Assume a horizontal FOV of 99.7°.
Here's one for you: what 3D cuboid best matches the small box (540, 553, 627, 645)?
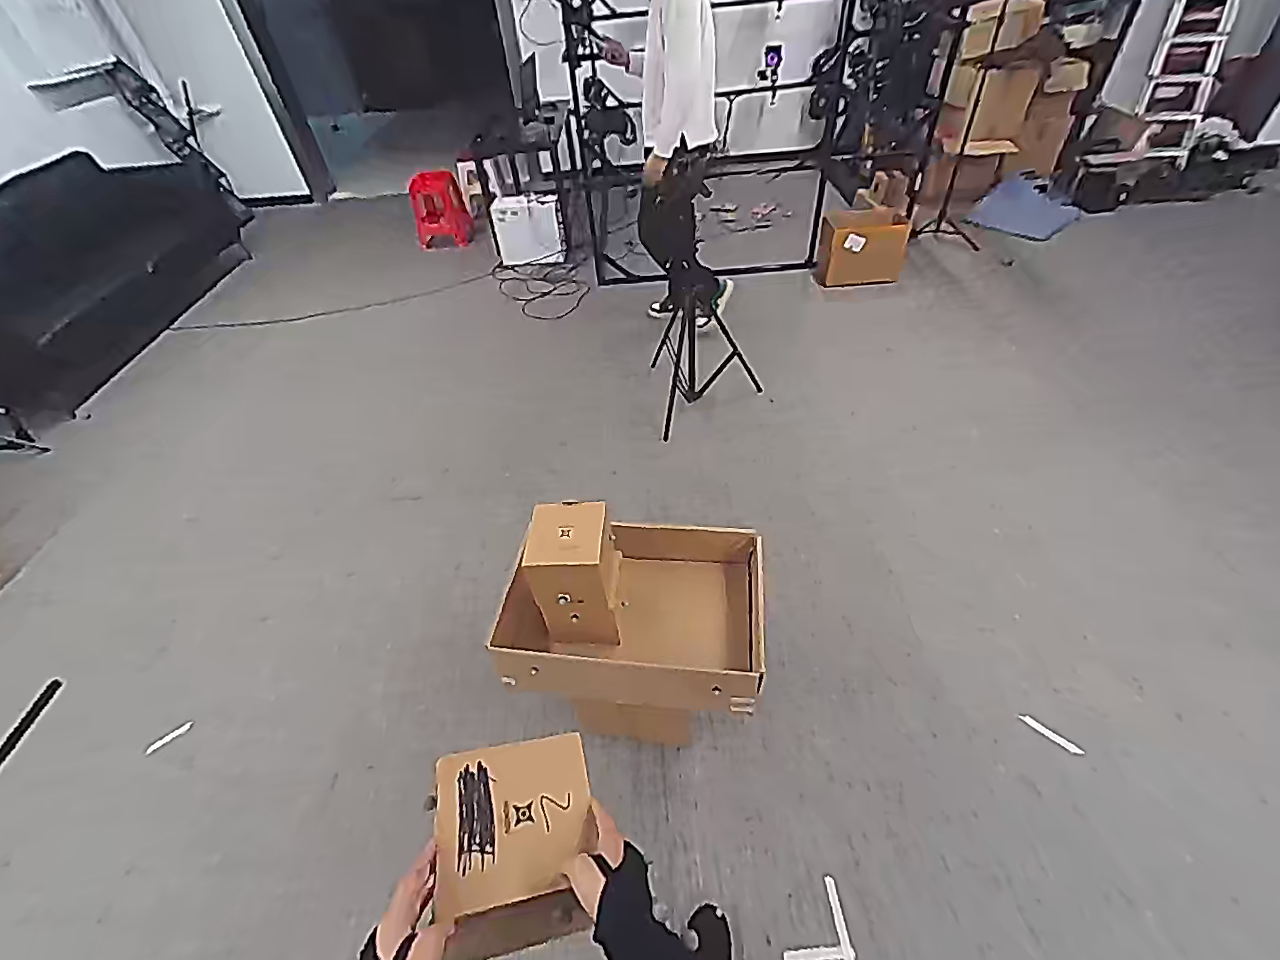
[{"bbox_3d":[-0.132,0.293,1.339,0.179,0.176,0.168,1,45,6],"label":"small box"}]

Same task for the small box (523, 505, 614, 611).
[{"bbox_3d":[-0.153,0.175,1.227,0.168,0.176,0.179,-2,44,5],"label":"small box"}]
